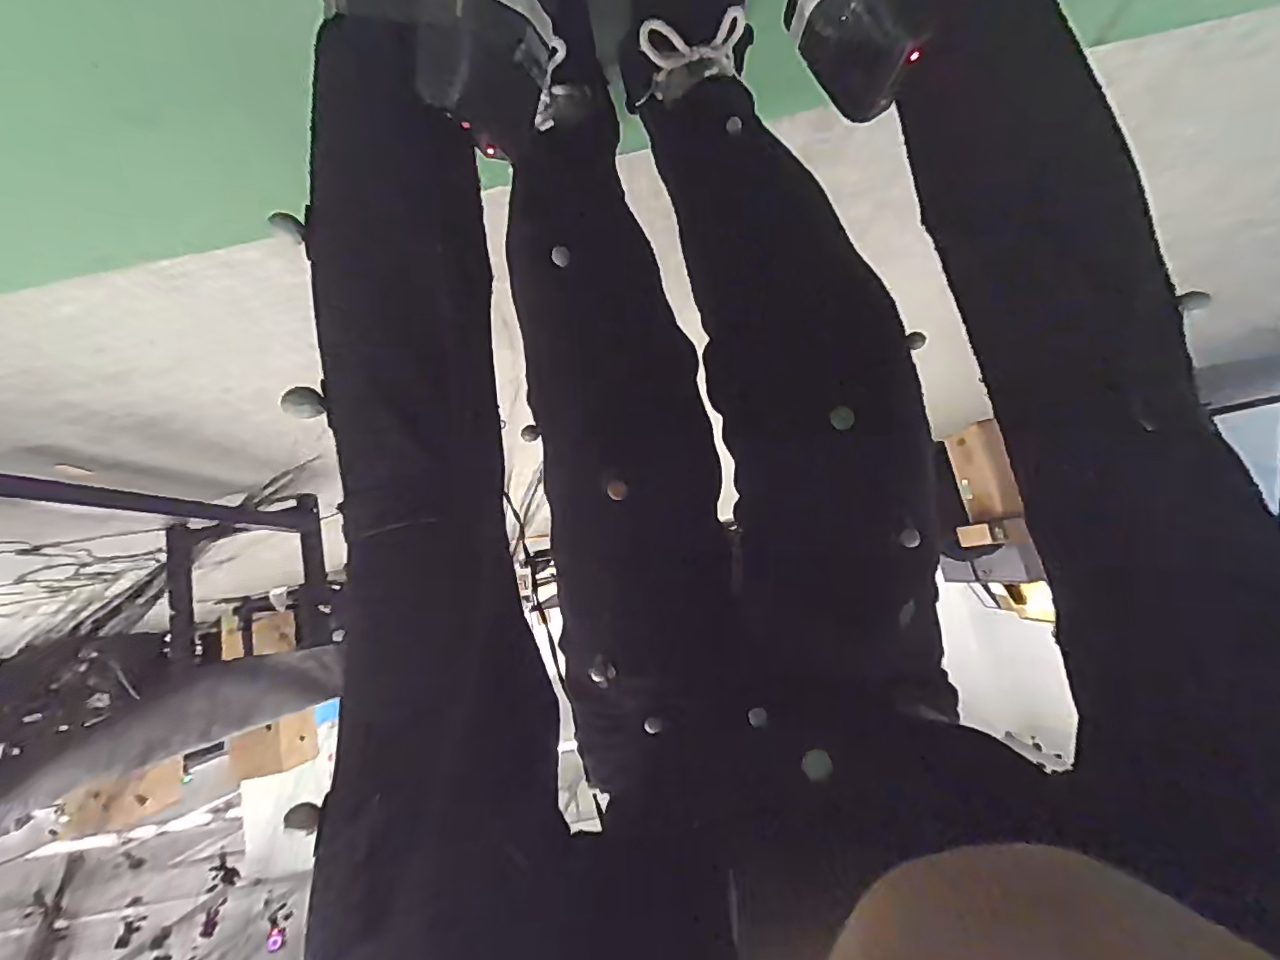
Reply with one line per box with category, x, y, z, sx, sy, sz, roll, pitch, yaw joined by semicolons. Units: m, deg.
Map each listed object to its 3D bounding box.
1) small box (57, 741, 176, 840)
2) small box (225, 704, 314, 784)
small box;-1.425;0.837;1.475;0.168;0.176;0.179;-13;169;0
small box;-1.176;0.829;1.714;0.168;0.176;0.179;-12;170;2
